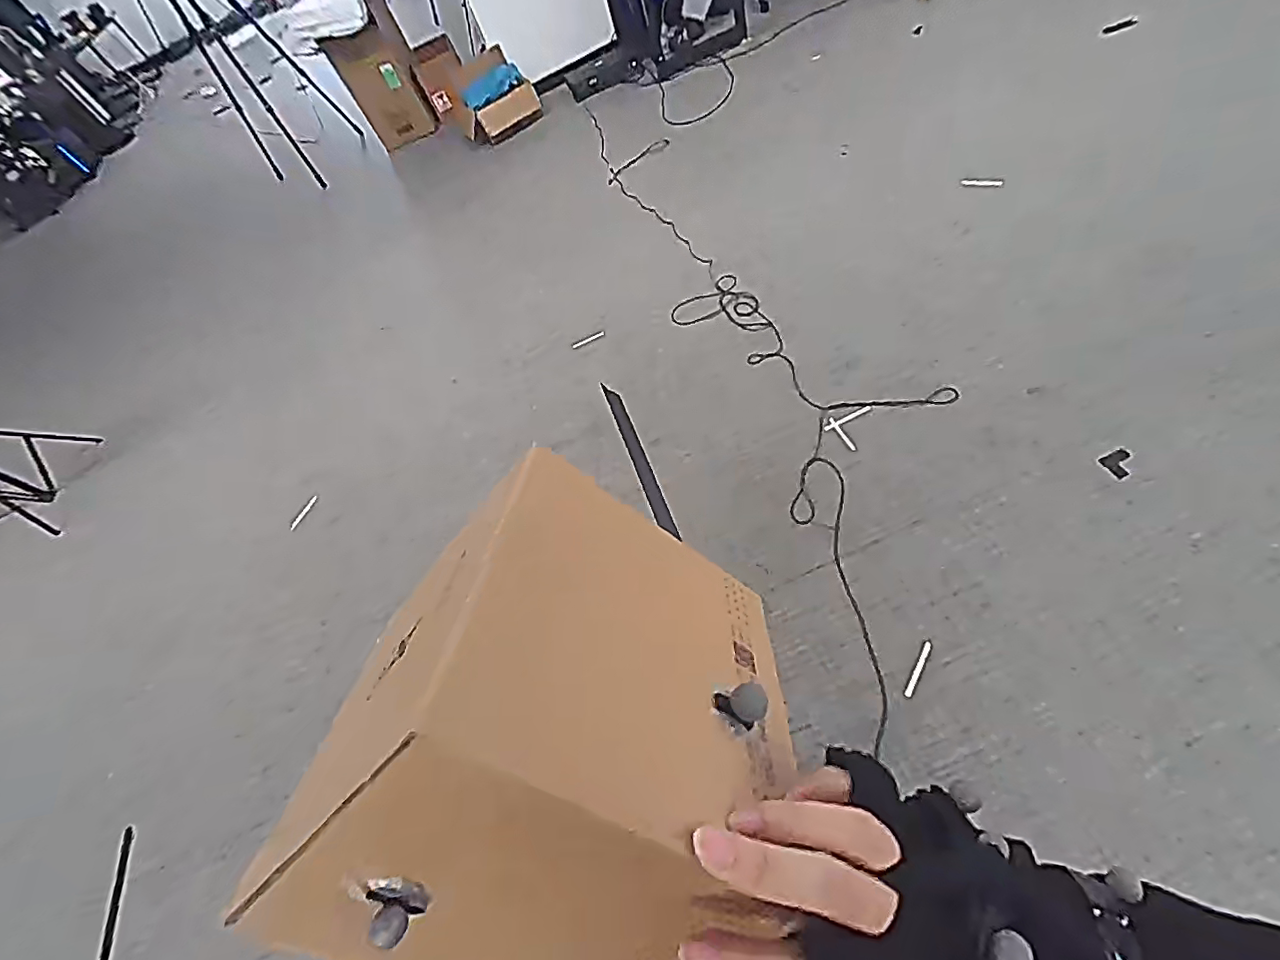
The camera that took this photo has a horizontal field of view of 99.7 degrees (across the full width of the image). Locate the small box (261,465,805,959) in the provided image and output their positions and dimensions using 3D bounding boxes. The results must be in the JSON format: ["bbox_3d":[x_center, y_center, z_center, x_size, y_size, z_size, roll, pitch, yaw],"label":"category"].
[{"bbox_3d":[-0.045,0.132,0.290,0.179,0.176,0.168,-46,20,25],"label":"small box"}]
